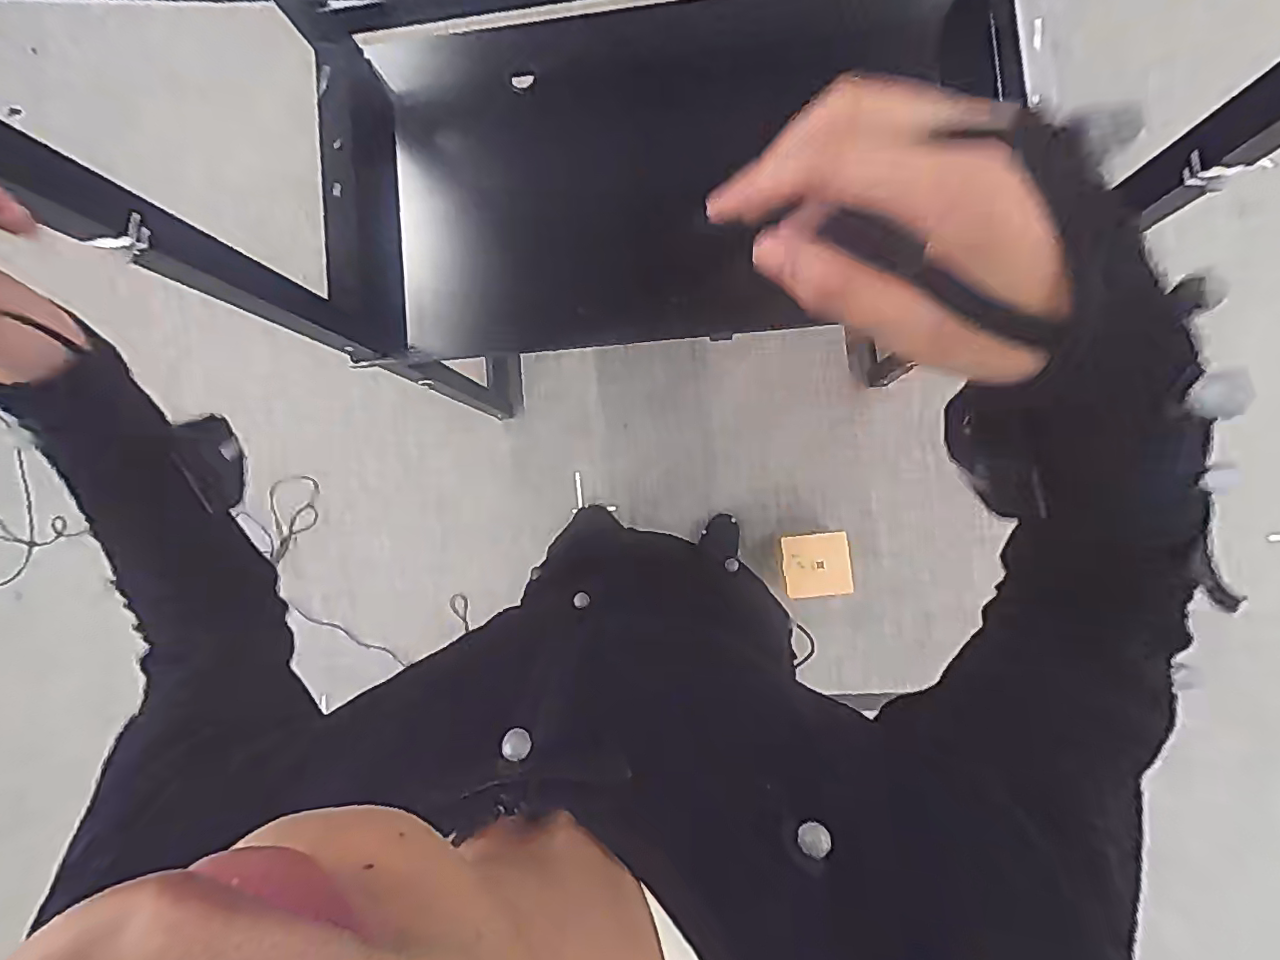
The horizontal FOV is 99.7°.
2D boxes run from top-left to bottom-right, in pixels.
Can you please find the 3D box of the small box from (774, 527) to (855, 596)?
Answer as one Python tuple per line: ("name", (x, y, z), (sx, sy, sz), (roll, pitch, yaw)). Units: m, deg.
("small box", (0.482, 0.224, 1.513), (0.179, 0.176, 0.168), (-6, 87, 6))
